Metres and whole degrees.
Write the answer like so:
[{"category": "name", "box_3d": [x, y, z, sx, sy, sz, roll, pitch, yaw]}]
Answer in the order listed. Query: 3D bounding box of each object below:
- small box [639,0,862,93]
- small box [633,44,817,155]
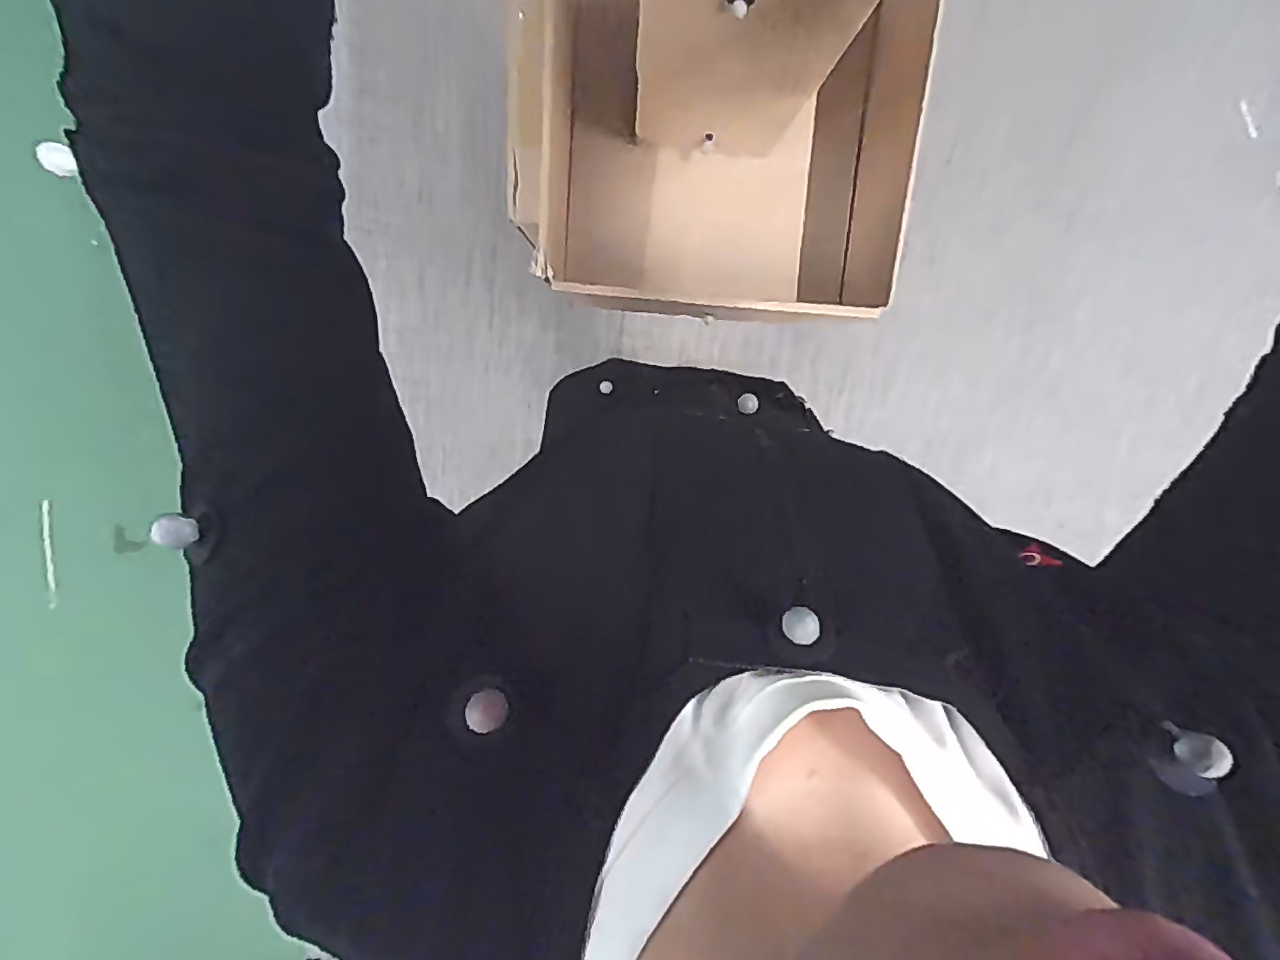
[{"category": "small box", "box_3d": [0.095, -0.448, 0.433, 0.179, 0.176, 0.168, 7, 100, -4]}, {"category": "small box", "box_3d": [0.088, -0.482, 0.593, 0.179, 0.176, 0.168, 4, 99, -4]}]
